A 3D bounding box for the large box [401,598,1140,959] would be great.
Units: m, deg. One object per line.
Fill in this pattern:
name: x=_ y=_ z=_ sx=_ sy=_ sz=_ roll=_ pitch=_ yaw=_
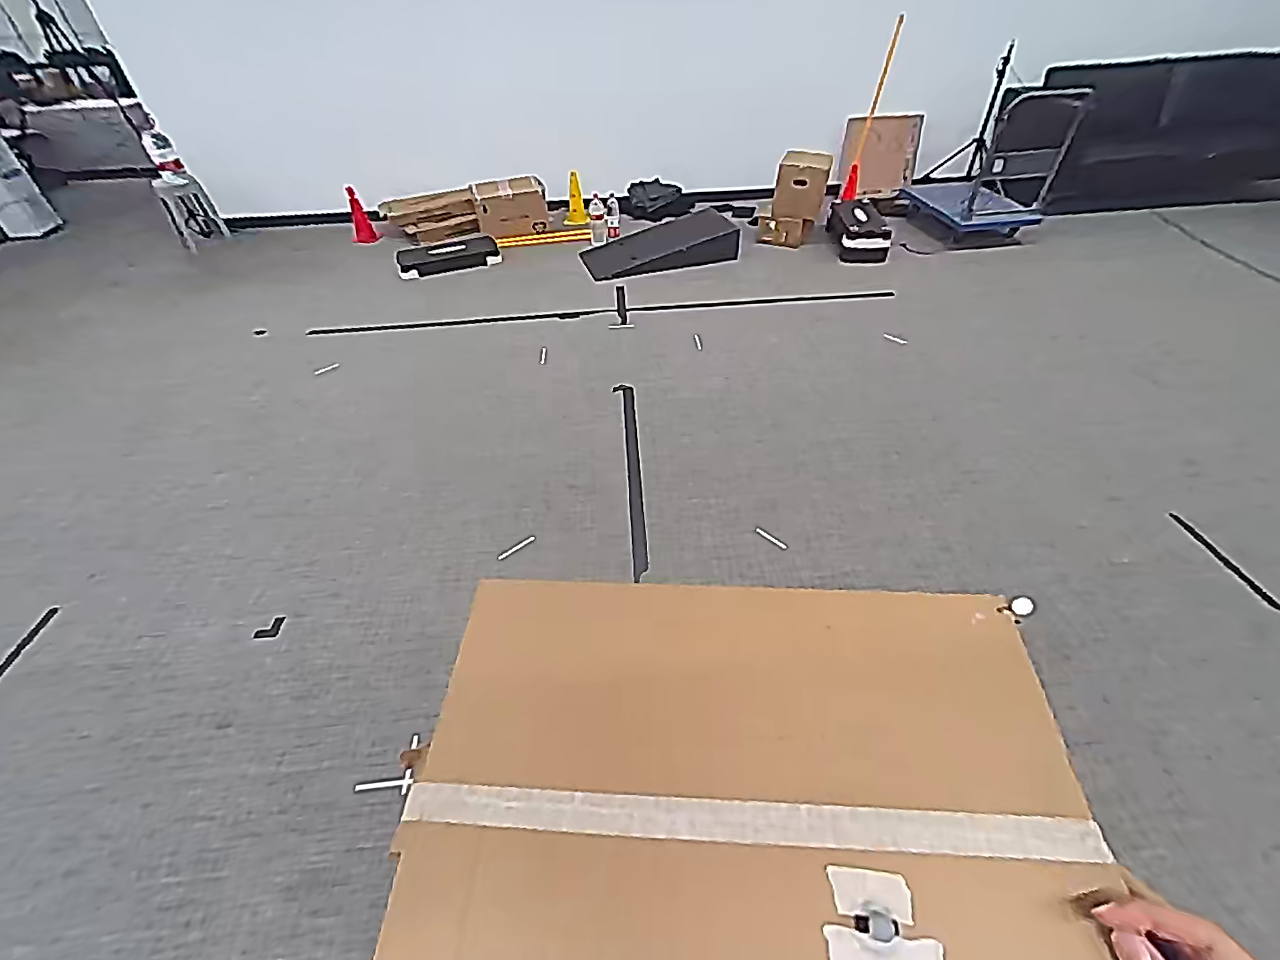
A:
large box: x=0.073 y=0.310 z=0.442 sx=0.408 sy=0.320 sz=0.320 roll=1 pitch=51 yaw=4
